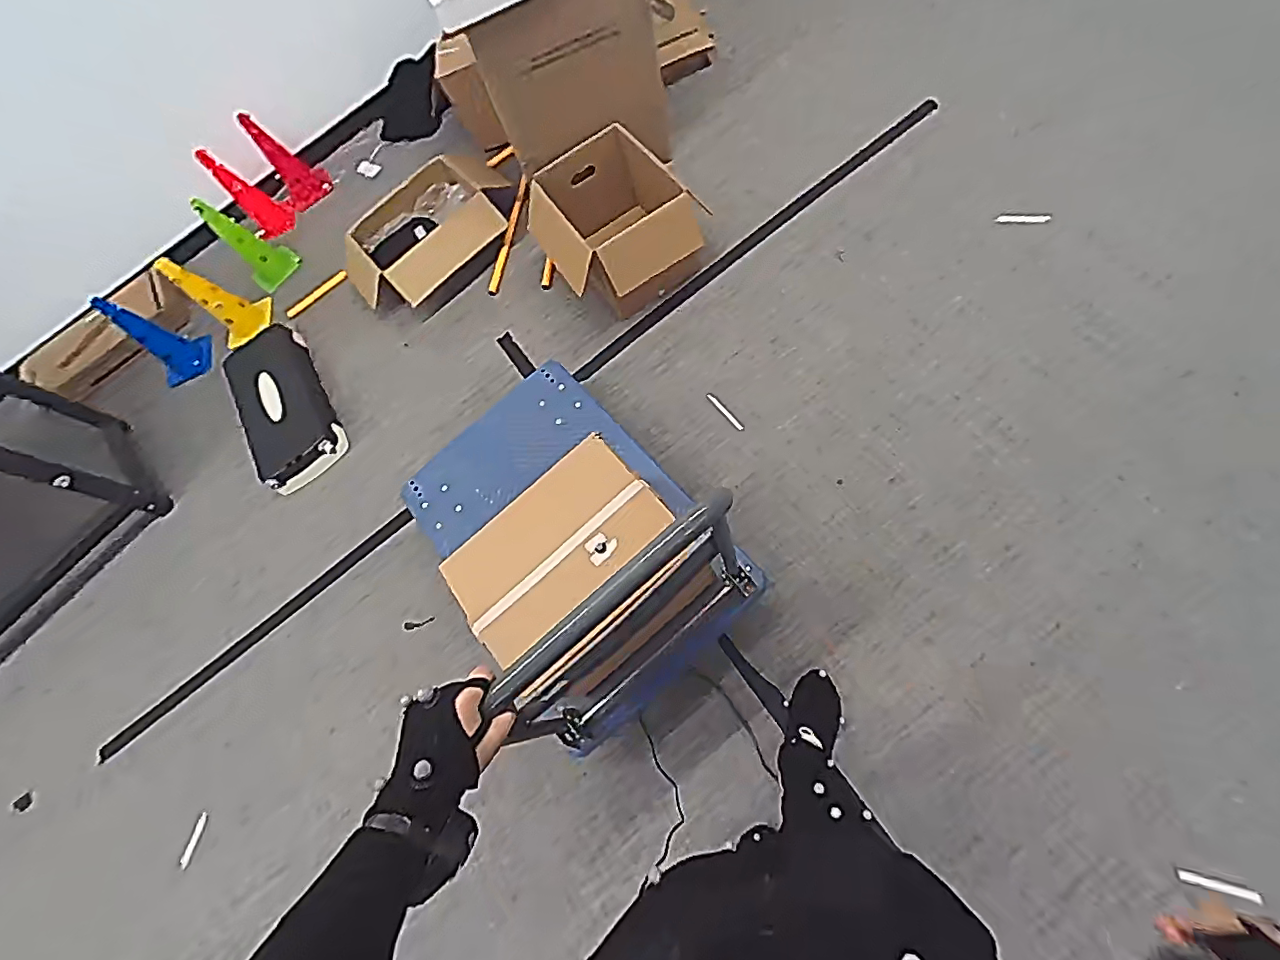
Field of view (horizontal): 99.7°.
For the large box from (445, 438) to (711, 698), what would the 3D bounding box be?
[{"bbox_3d":[-0.110,0.199,1.137,0.408,0.320,0.320,-42,66,-4],"label":"large box"}]
